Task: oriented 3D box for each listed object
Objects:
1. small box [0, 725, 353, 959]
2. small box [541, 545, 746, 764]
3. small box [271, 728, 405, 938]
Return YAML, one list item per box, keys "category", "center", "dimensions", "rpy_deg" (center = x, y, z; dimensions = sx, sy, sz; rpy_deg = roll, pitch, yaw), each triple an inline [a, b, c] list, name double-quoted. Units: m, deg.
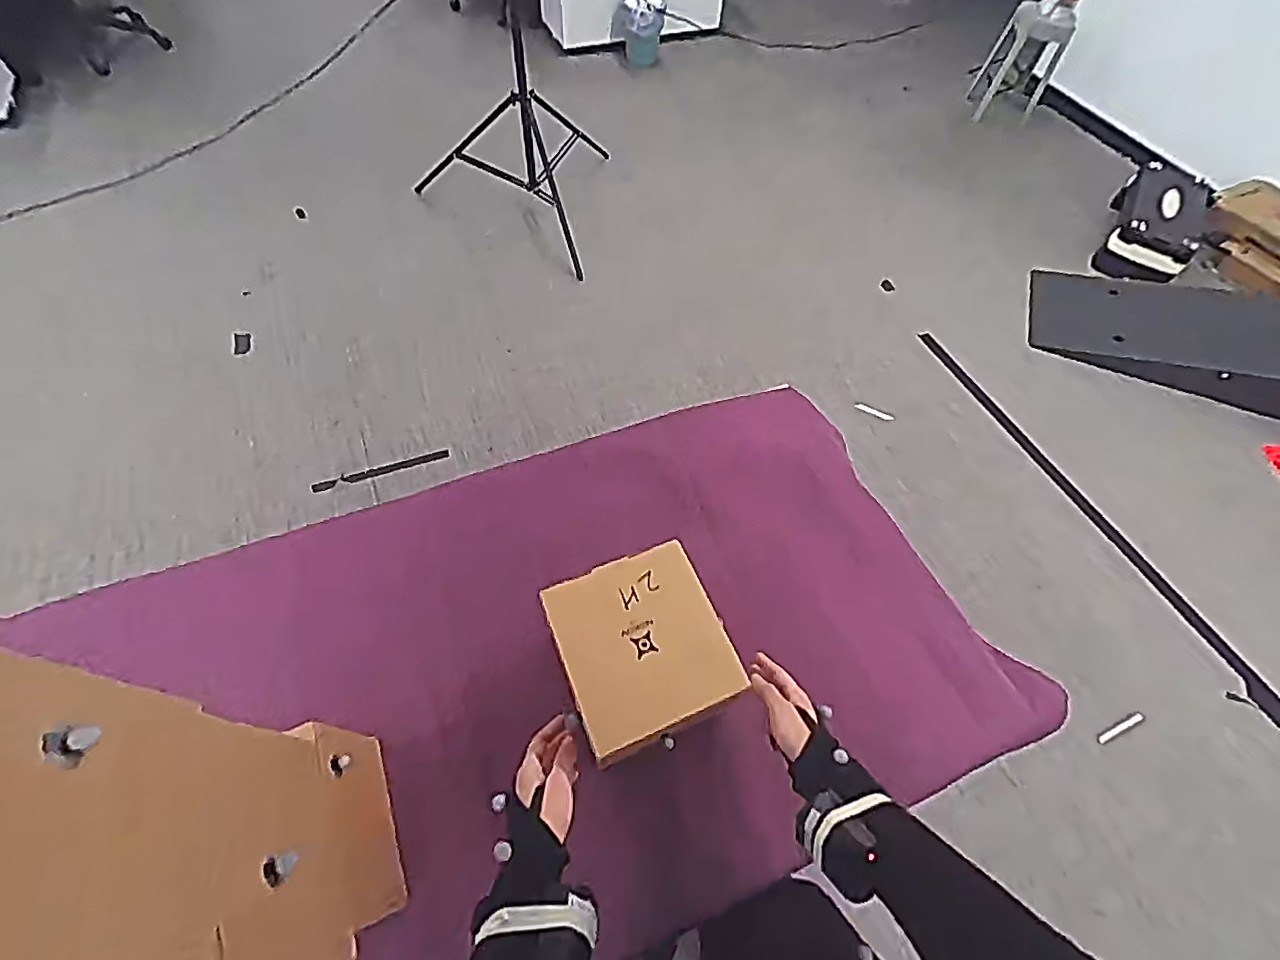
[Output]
- category: "small box"
  center: [-0.323, 0.295, 0.365]
  dimensions: [0.168, 0.176, 0.179]
  rpy_deg: [-24, 64, -17]
- category: "small box"
  center: [-0.003, 0.207, 0.625]
  dimensions: [0.168, 0.176, 0.179]
  rpy_deg: [-19, 62, -15]
- category: "small box"
  center: [-0.344, 0.363, 0.514]
  dimensions: [0.168, 0.176, 0.179]
  rpy_deg: [-20, 62, -15]
